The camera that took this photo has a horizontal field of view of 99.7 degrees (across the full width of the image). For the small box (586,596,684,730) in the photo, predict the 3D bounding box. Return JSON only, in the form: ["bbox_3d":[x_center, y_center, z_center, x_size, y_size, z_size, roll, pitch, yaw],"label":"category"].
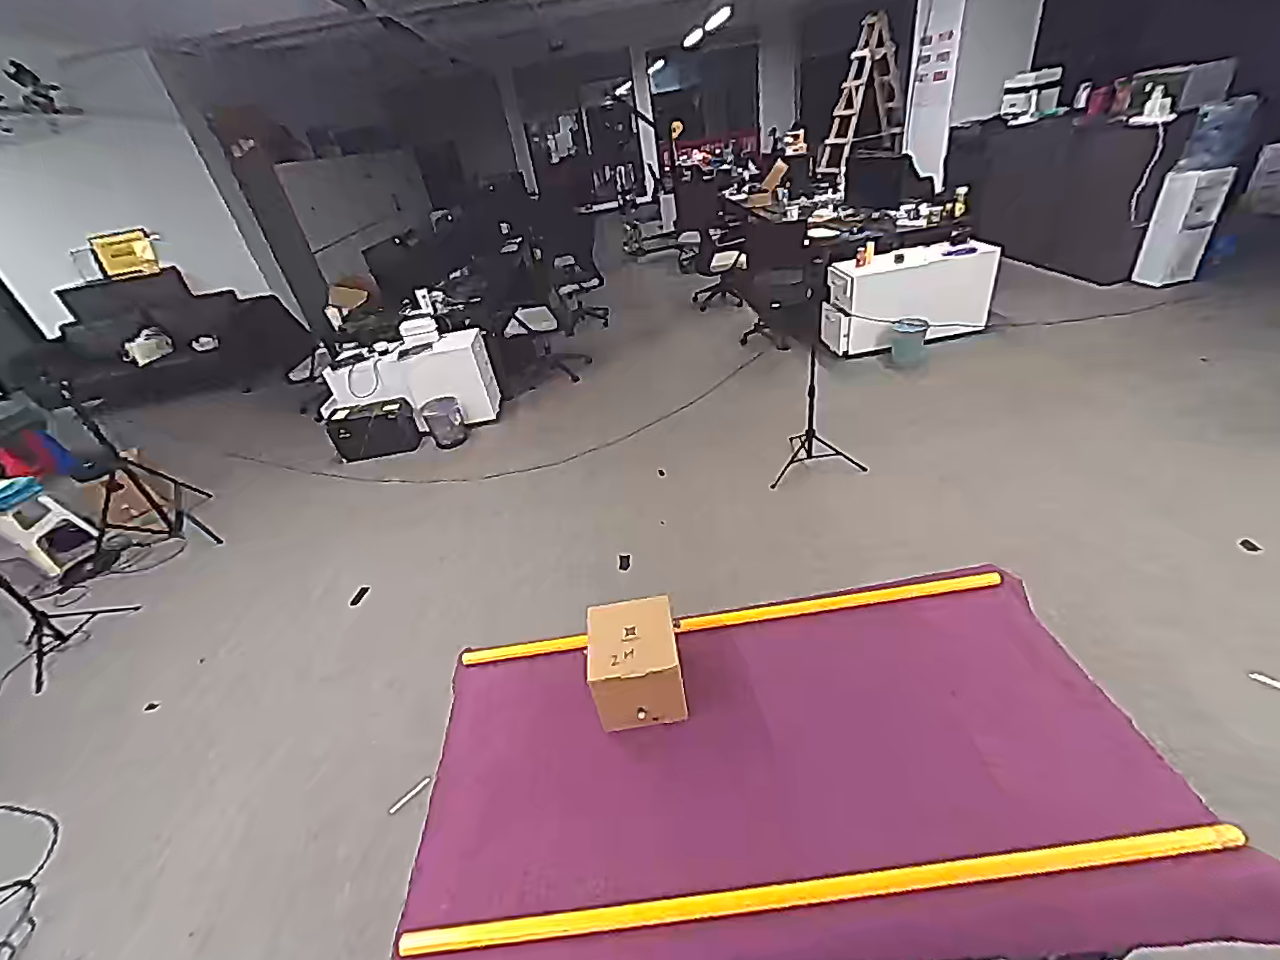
[{"bbox_3d":[-0.010,0.360,1.067,0.168,0.176,0.179,-10,35,2],"label":"small box"}]
